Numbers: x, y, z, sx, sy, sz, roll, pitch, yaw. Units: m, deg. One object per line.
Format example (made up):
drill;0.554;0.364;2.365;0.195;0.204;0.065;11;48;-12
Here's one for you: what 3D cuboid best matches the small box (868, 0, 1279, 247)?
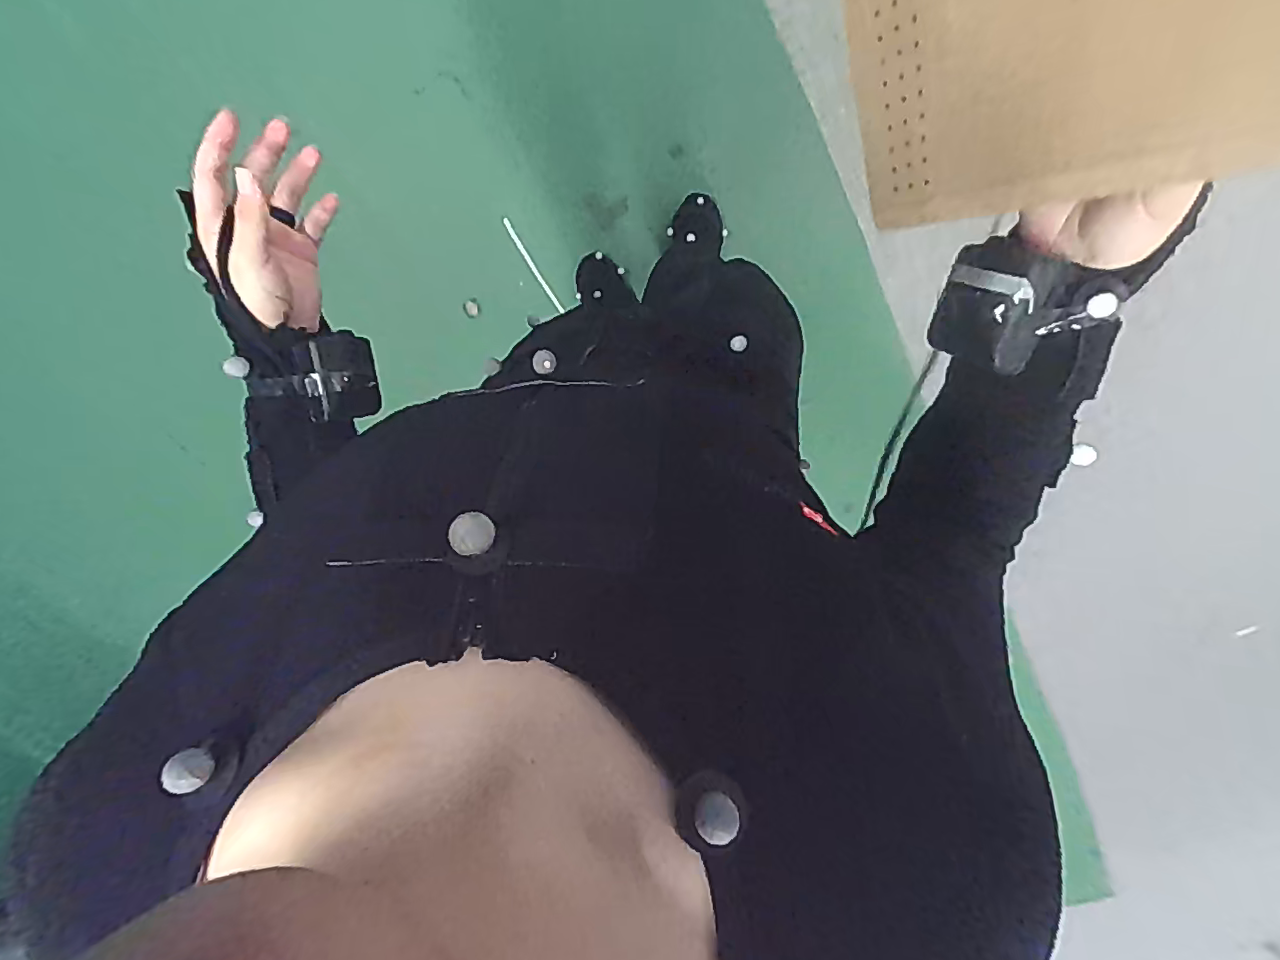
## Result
small box;0.172;-0.176;0.129;0.168;0.176;0.179;-26;114;-11
